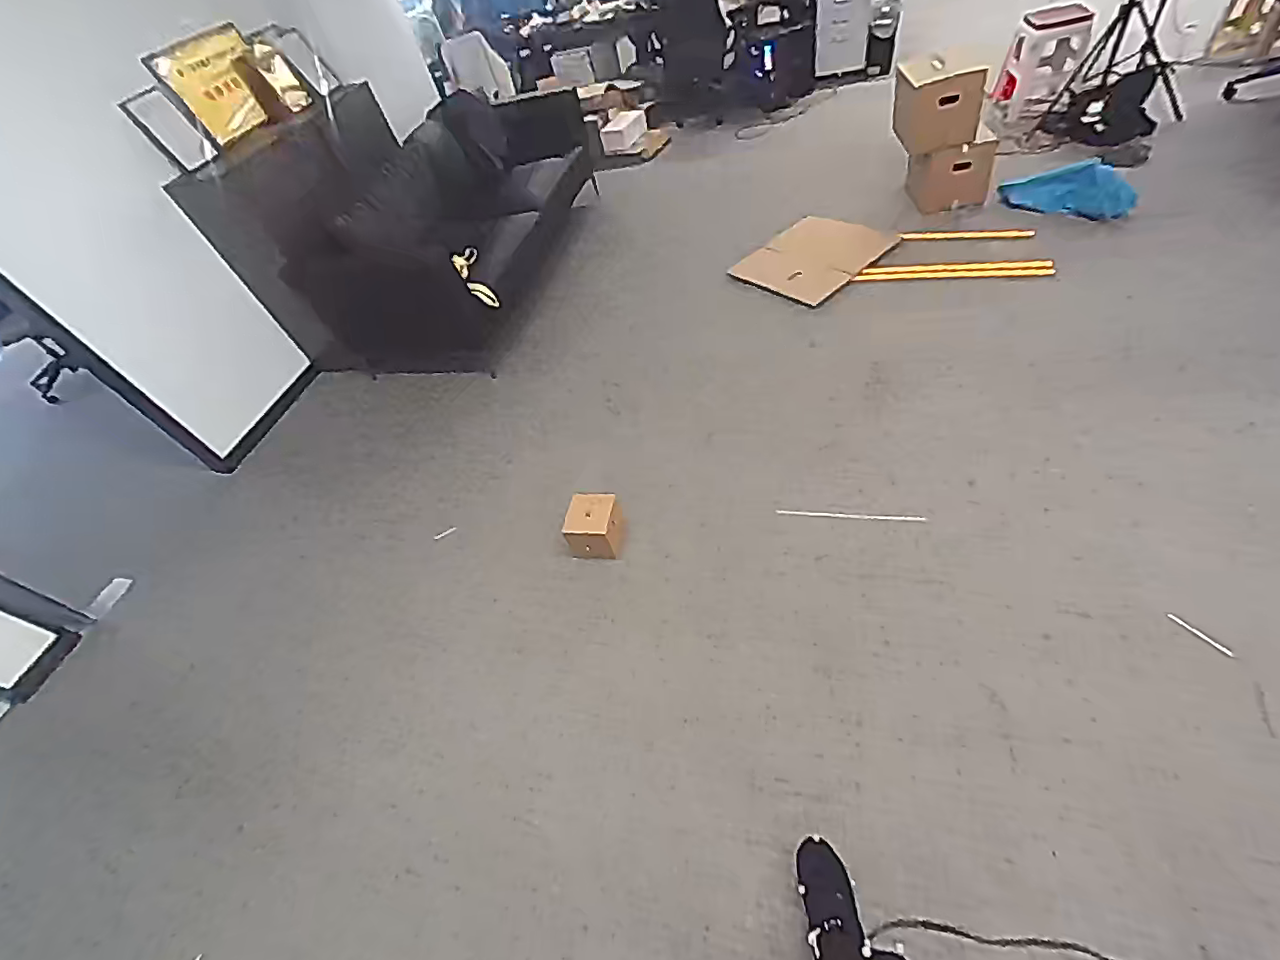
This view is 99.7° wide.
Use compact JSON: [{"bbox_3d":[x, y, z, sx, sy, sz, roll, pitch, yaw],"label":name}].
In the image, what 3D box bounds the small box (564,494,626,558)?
[{"bbox_3d":[-0.157,0.171,1.973,0.168,0.176,0.179,1,50,16],"label":"small box"}]
